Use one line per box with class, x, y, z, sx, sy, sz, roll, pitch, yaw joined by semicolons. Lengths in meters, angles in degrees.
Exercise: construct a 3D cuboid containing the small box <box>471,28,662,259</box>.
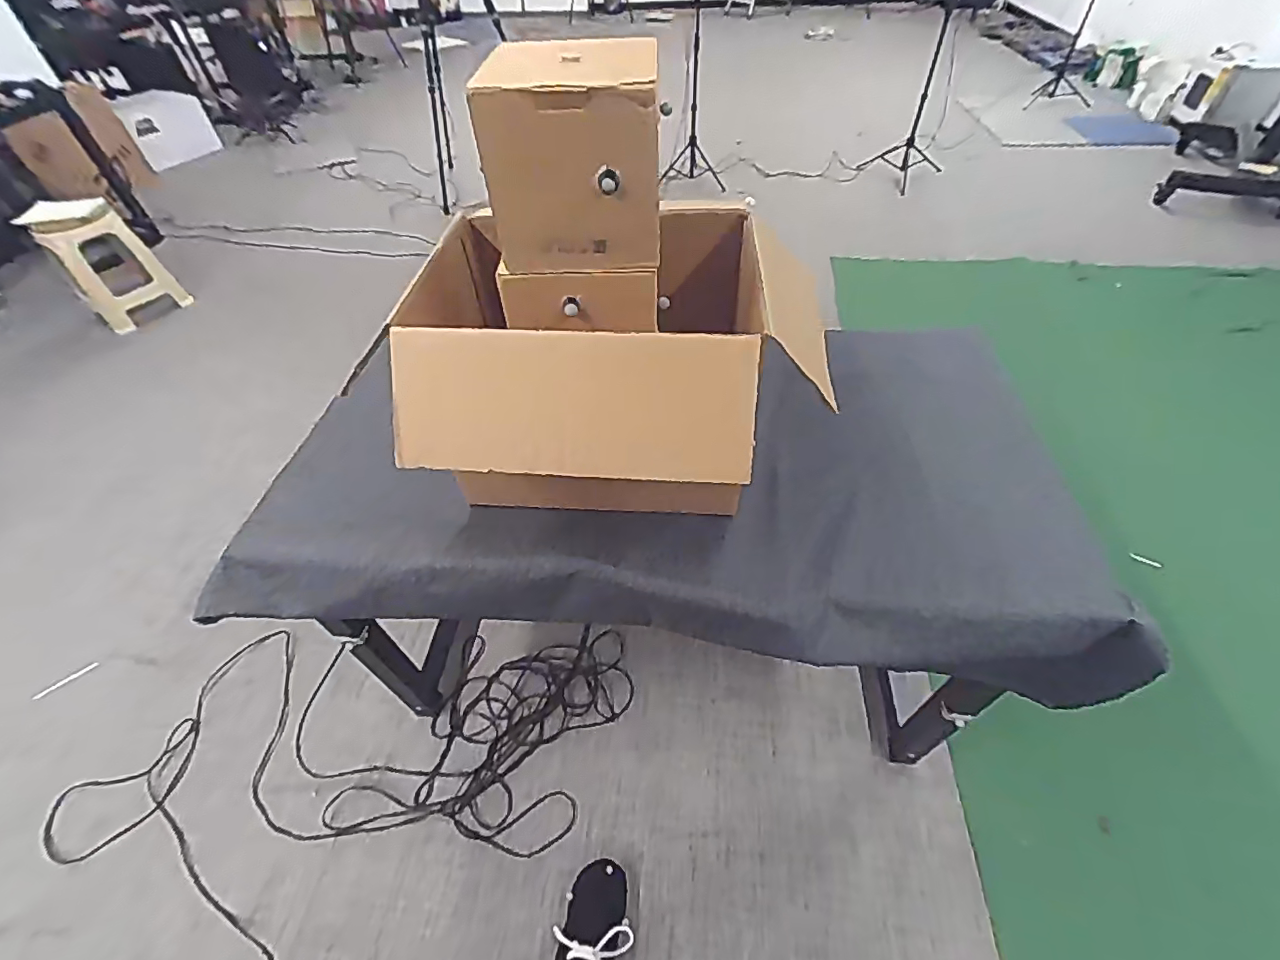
small box;-0.060;-0.350;0.569;0.168;0.176;0.179;0;49;1
